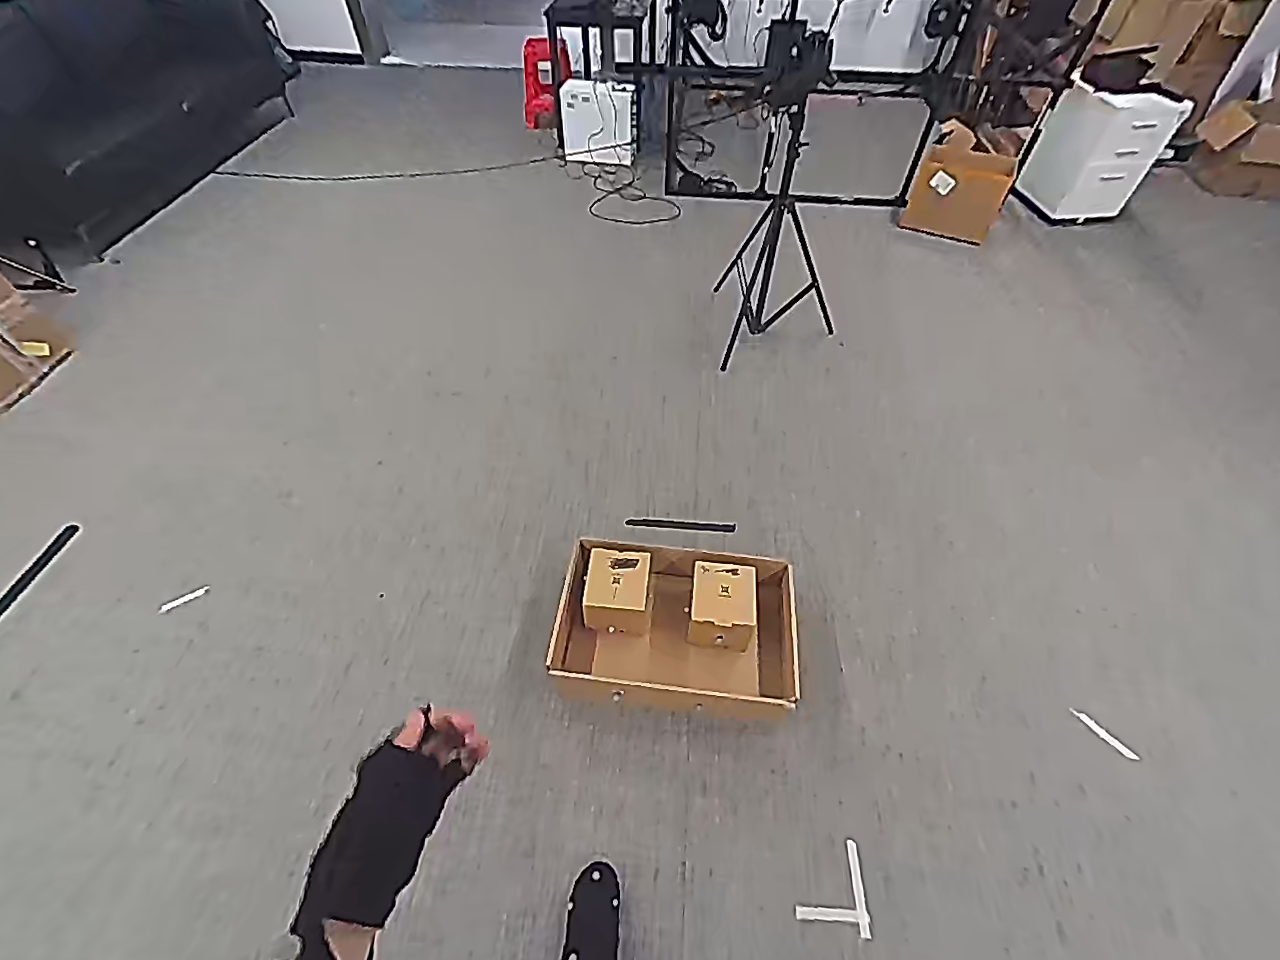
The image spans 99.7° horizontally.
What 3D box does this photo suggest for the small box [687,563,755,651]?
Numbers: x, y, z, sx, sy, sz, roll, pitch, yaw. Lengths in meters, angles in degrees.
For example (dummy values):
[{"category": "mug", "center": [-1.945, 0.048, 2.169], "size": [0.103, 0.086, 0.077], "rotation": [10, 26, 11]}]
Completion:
[{"category": "small box", "center": [0.220, 0.351, 1.478], "size": [0.168, 0.176, 0.179], "rotation": [6, 53, 5]}]
